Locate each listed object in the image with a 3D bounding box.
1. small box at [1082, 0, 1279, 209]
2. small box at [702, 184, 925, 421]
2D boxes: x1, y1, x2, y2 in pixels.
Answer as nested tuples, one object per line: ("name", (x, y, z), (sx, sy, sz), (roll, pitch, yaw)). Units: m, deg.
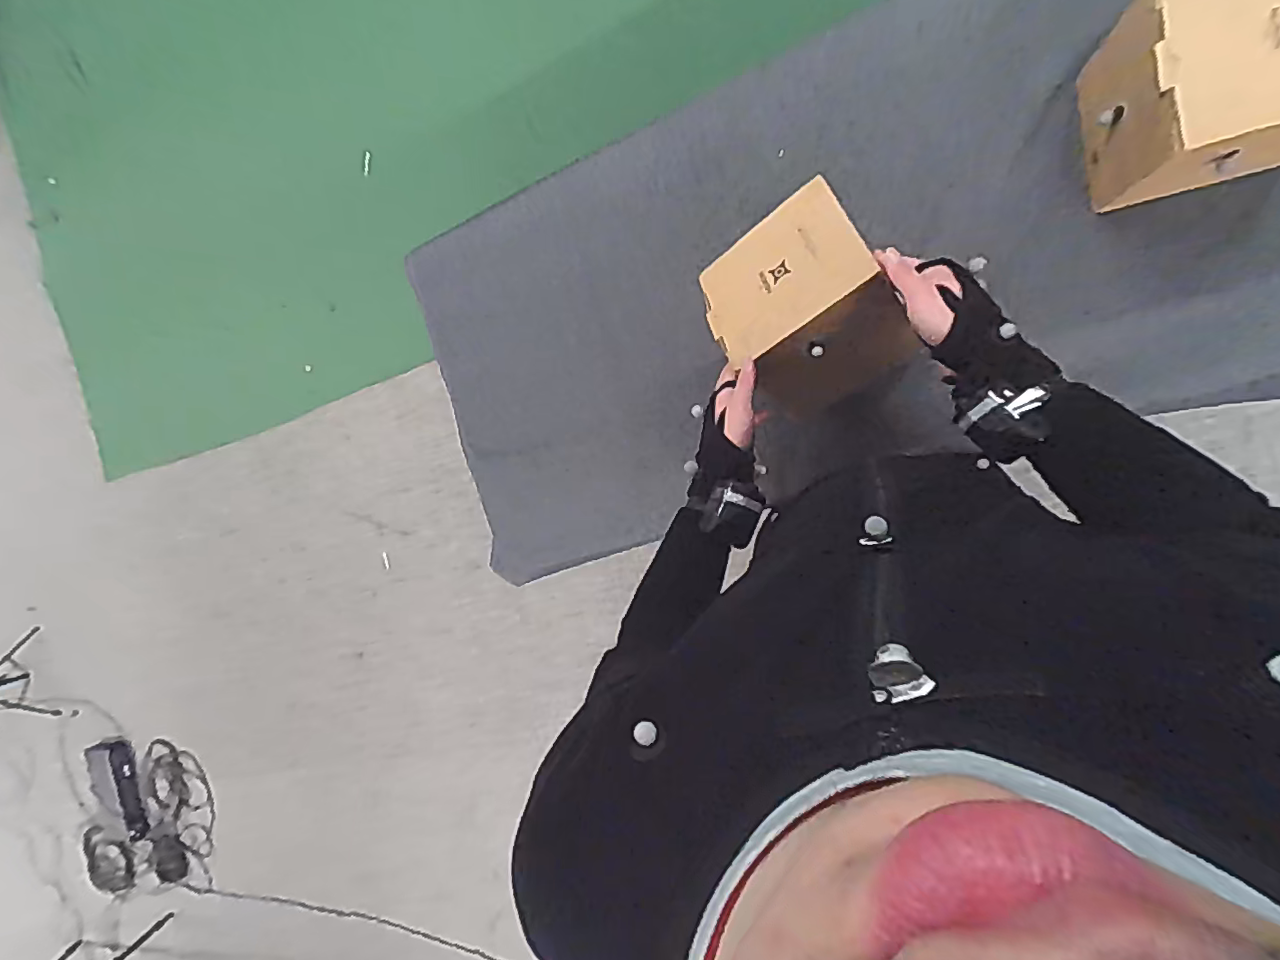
("small box", (0.587, -0.405, 0.549), (0.179, 0.176, 0.168), (-9, 94, 19))
("small box", (0.207, -0.199, 0.655), (0.179, 0.176, 0.168), (-33, 53, 28))
